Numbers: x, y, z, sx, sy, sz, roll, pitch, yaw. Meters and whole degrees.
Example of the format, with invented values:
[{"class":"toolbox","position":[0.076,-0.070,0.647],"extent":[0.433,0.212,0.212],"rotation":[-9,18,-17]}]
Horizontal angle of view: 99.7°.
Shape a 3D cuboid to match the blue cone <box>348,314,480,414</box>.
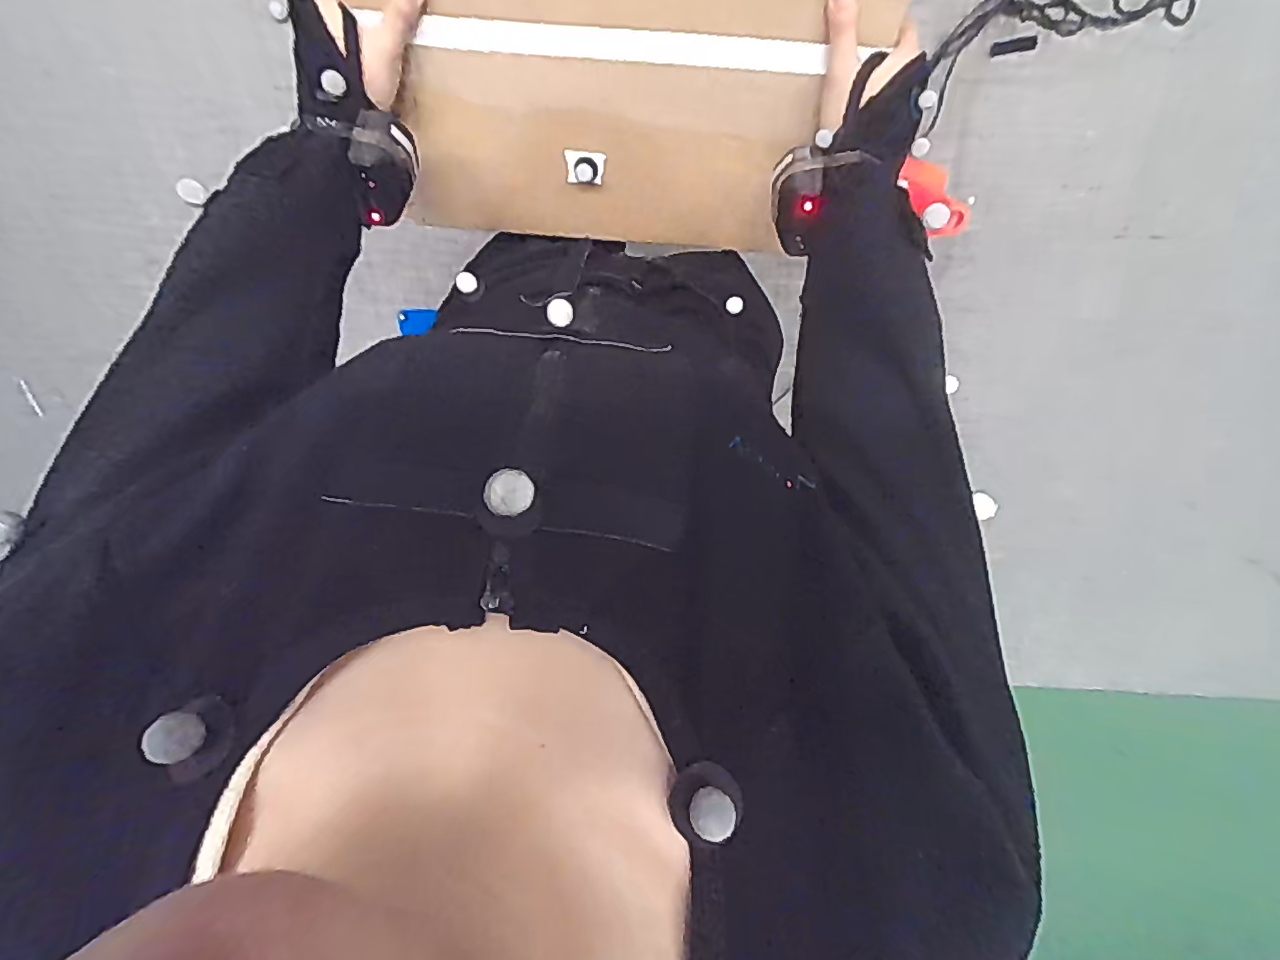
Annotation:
[{"class":"blue cone","position":[-0.498,-0.226,1.162],"extent":[0.192,0.380,0.193],"rotation":[3,118,3]}]
